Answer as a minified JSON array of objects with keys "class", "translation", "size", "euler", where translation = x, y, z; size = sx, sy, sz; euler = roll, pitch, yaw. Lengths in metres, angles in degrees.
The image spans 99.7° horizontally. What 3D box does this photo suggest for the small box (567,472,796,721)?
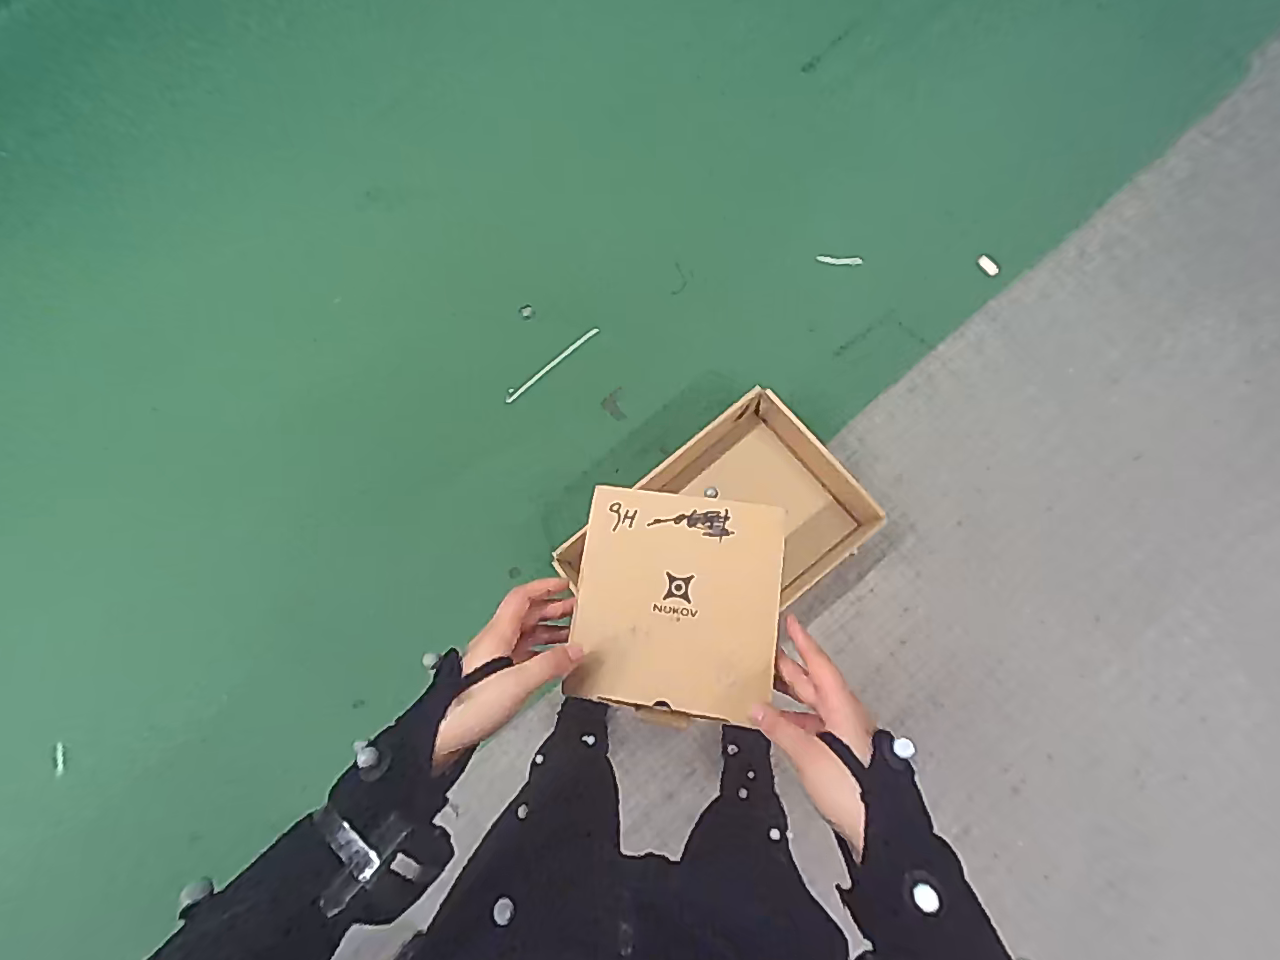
[{"class":"small box","translation":[0.042,0.107,0.516],"size":[0.168,0.176,0.179],"euler":[9,77,7]}]
